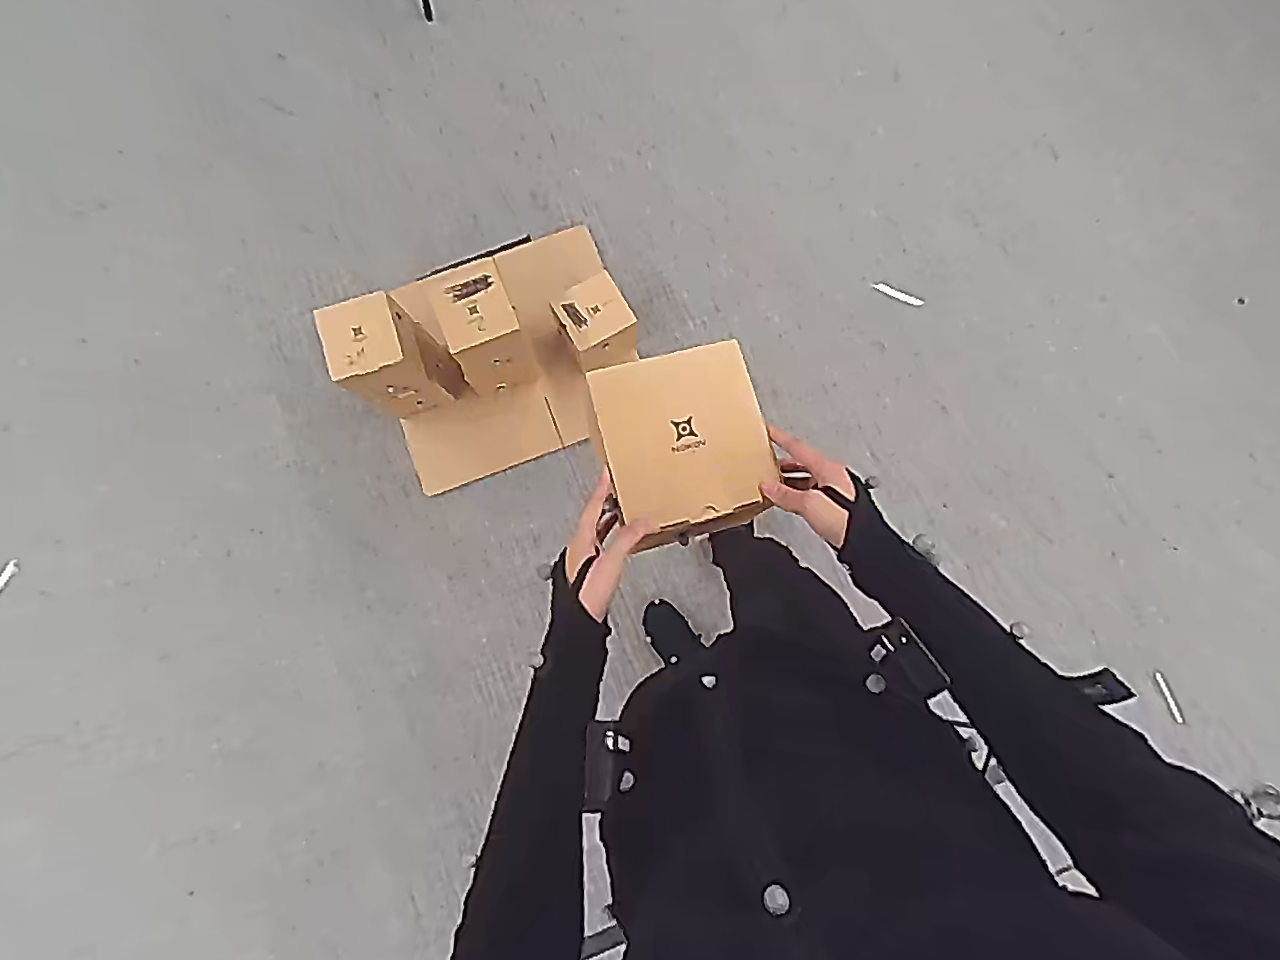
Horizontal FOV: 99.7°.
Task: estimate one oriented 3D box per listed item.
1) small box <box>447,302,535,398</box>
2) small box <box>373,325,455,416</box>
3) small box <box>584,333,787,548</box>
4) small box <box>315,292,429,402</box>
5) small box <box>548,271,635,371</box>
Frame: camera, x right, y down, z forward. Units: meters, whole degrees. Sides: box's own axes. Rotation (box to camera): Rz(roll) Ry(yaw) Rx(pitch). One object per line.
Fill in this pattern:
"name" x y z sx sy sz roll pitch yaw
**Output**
"small box" -0.392 -0.343 1.448 0.168 0.176 0.179 -18 83 -3
"small box" -0.613 -0.280 1.435 0.168 0.176 0.179 -19 84 -3
"small box" 0.036 -0.033 0.606 0.168 0.176 0.179 -15 79 -8
"small box" -0.622 -0.305 1.271 0.168 0.176 0.179 -18 83 -2
"small box" -0.124 -0.419 1.461 0.179 0.176 0.168 -30 84 -5
